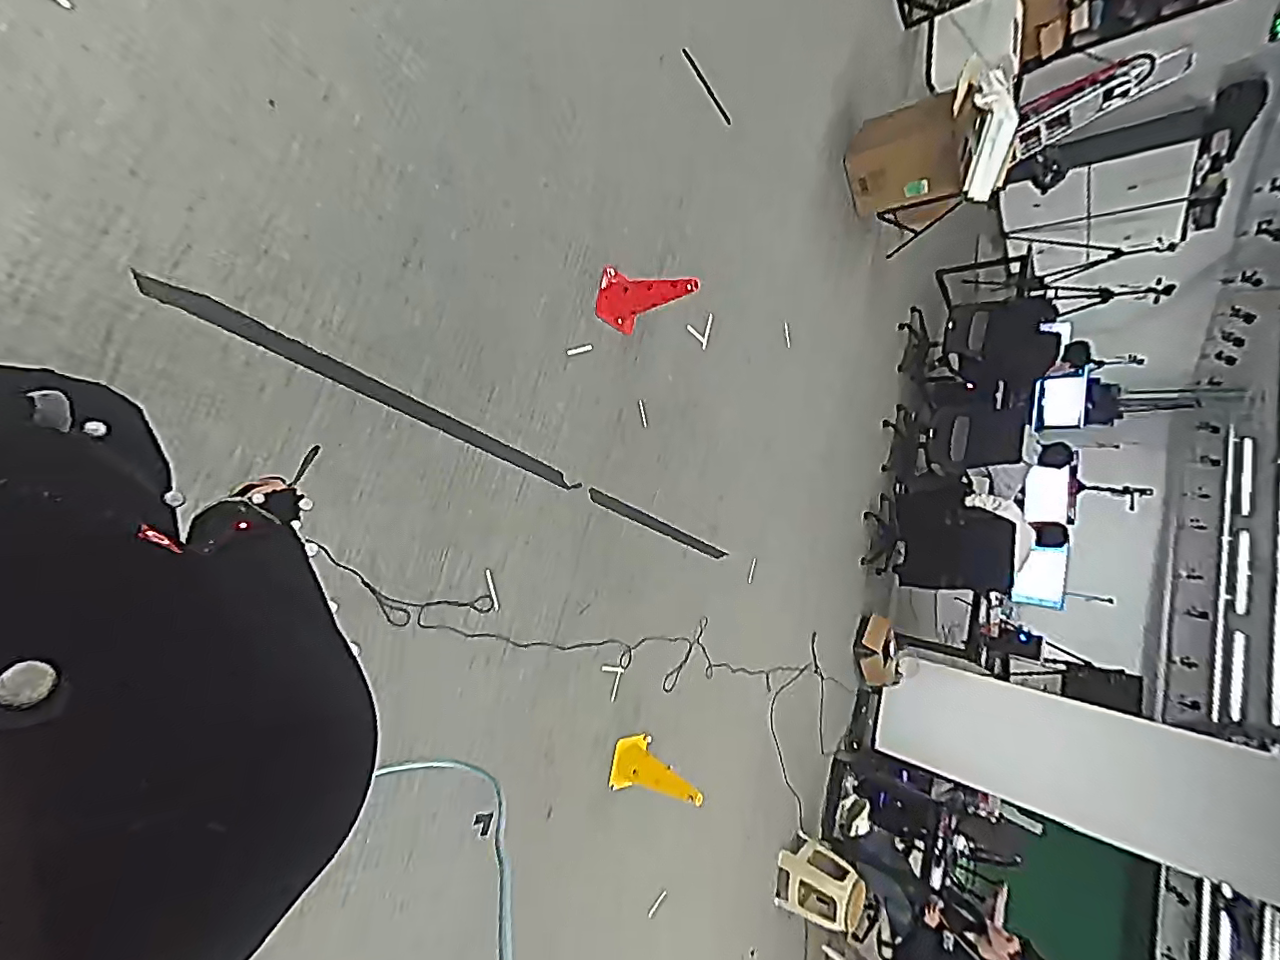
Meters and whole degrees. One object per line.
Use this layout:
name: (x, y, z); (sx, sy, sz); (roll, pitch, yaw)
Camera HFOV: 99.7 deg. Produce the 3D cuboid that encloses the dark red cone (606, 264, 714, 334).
dark red cone: (0.079, -0.639, 1.859); (0.202, 0.394, 0.201); (18, 82, -49)
